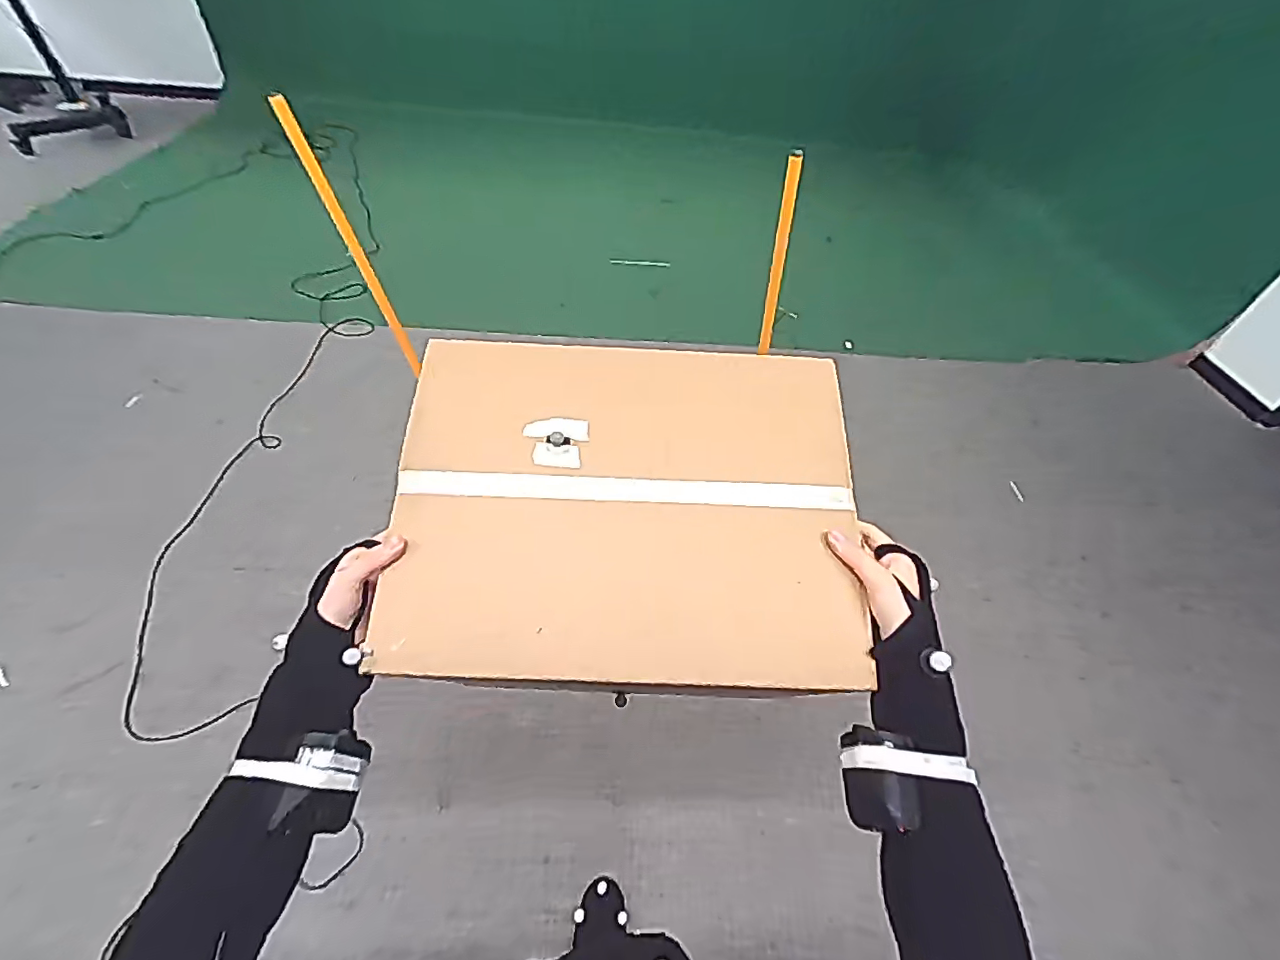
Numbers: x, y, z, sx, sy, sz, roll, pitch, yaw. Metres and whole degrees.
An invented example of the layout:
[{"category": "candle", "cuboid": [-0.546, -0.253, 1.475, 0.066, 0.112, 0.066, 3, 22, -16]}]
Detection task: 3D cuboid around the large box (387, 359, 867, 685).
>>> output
[{"category": "large box", "cuboid": [-0.009, 0.075, 0.637, 0.408, 0.320, 0.320, 1, 66, 0]}]
